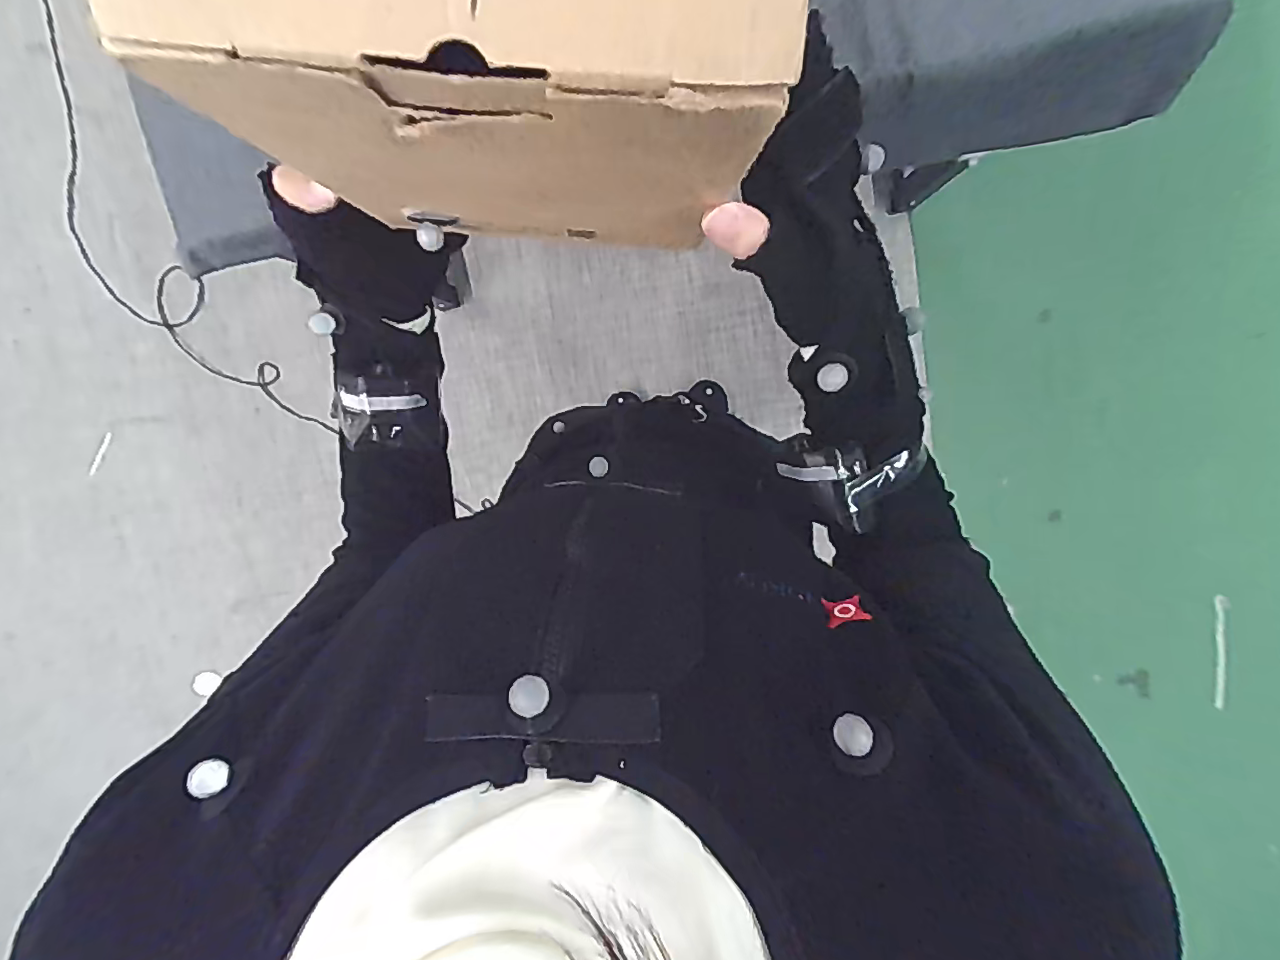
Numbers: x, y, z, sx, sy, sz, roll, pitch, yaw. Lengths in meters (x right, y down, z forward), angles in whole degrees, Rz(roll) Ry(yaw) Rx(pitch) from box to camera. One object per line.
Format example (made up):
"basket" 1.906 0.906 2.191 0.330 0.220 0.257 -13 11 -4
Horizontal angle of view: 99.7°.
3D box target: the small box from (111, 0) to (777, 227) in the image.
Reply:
"small box" -0.044 -0.205 0.195 0.168 0.176 0.179 3 101 -3
